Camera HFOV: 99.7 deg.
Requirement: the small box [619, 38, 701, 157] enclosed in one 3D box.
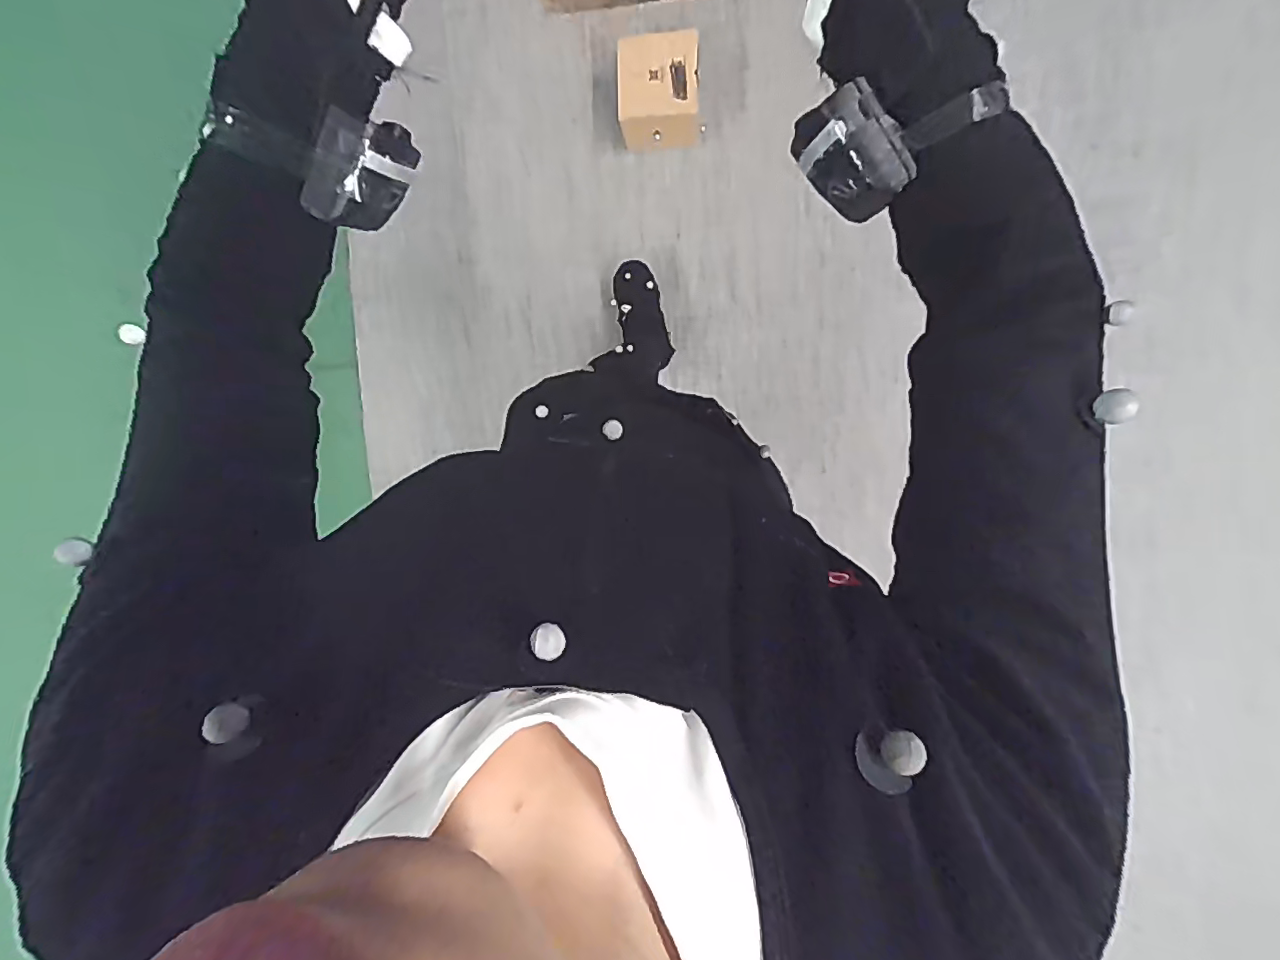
[{"bbox_3d":[0.051,-0.873,1.249,0.179,0.176,0.168,1,97,8],"label":"small box"}]
